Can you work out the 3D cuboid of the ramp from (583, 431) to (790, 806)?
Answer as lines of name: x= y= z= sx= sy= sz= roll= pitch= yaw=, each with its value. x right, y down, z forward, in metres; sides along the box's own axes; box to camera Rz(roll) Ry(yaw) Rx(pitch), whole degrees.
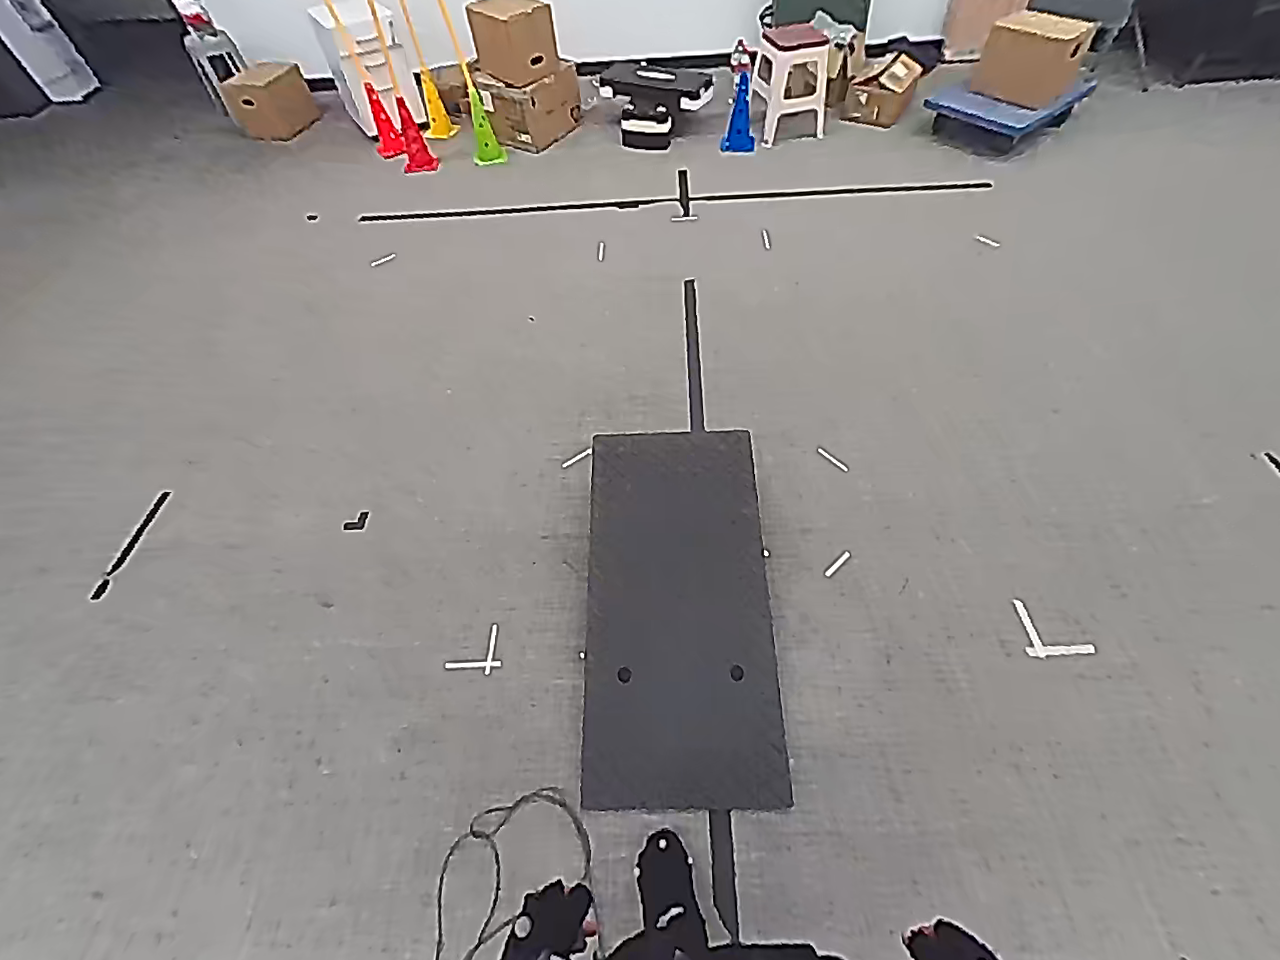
ramp: x=0.101 y=0.305 z=1.470 sx=0.509 sy=0.206 sz=0.991 roll=-3 pitch=54 yaw=0
